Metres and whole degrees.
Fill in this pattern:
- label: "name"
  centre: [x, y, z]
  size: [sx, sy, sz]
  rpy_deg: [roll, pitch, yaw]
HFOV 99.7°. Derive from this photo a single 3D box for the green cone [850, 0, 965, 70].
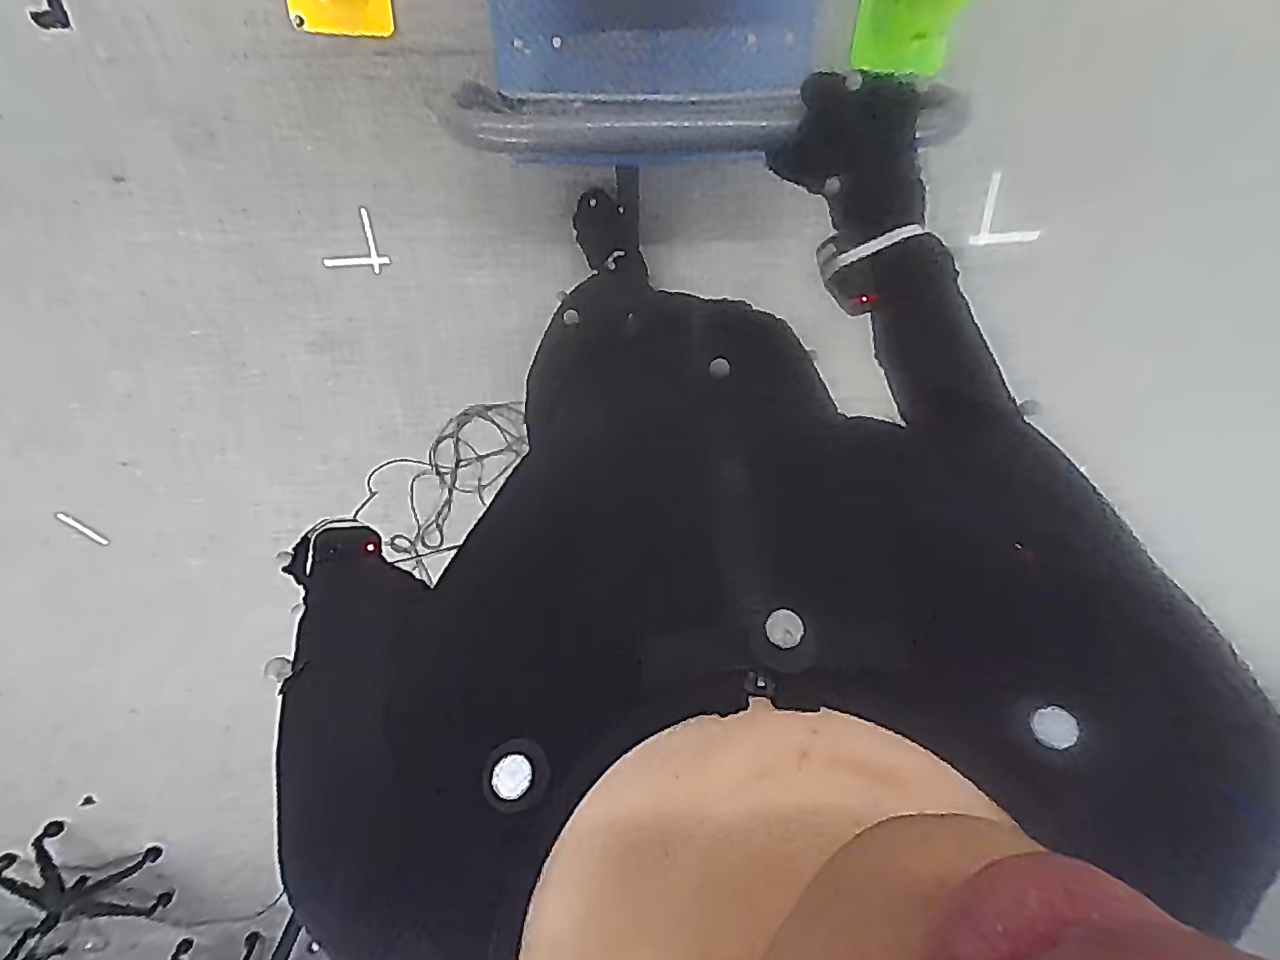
- label: "green cone"
  centre: [0.550, -0.886, 0.949]
  size: [0.202, 0.368, 0.200]
  rpy_deg: [1, 117, -4]
